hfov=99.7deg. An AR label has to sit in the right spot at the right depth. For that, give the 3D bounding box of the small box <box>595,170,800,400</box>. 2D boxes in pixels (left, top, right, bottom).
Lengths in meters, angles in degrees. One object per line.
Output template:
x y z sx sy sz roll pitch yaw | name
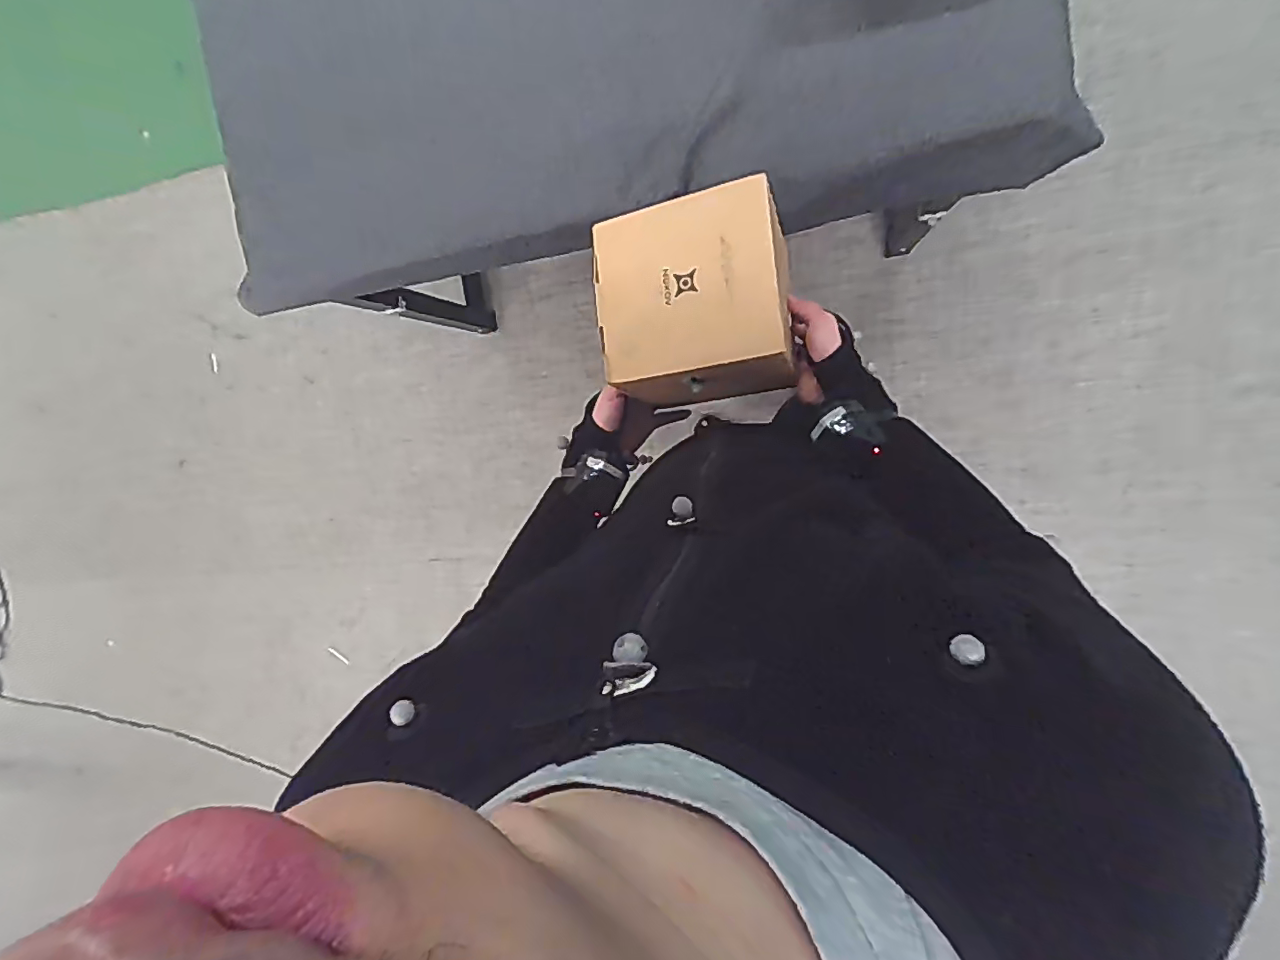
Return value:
0.070 -0.187 0.582 0.179 0.176 0.168 -7 88 19 | small box
